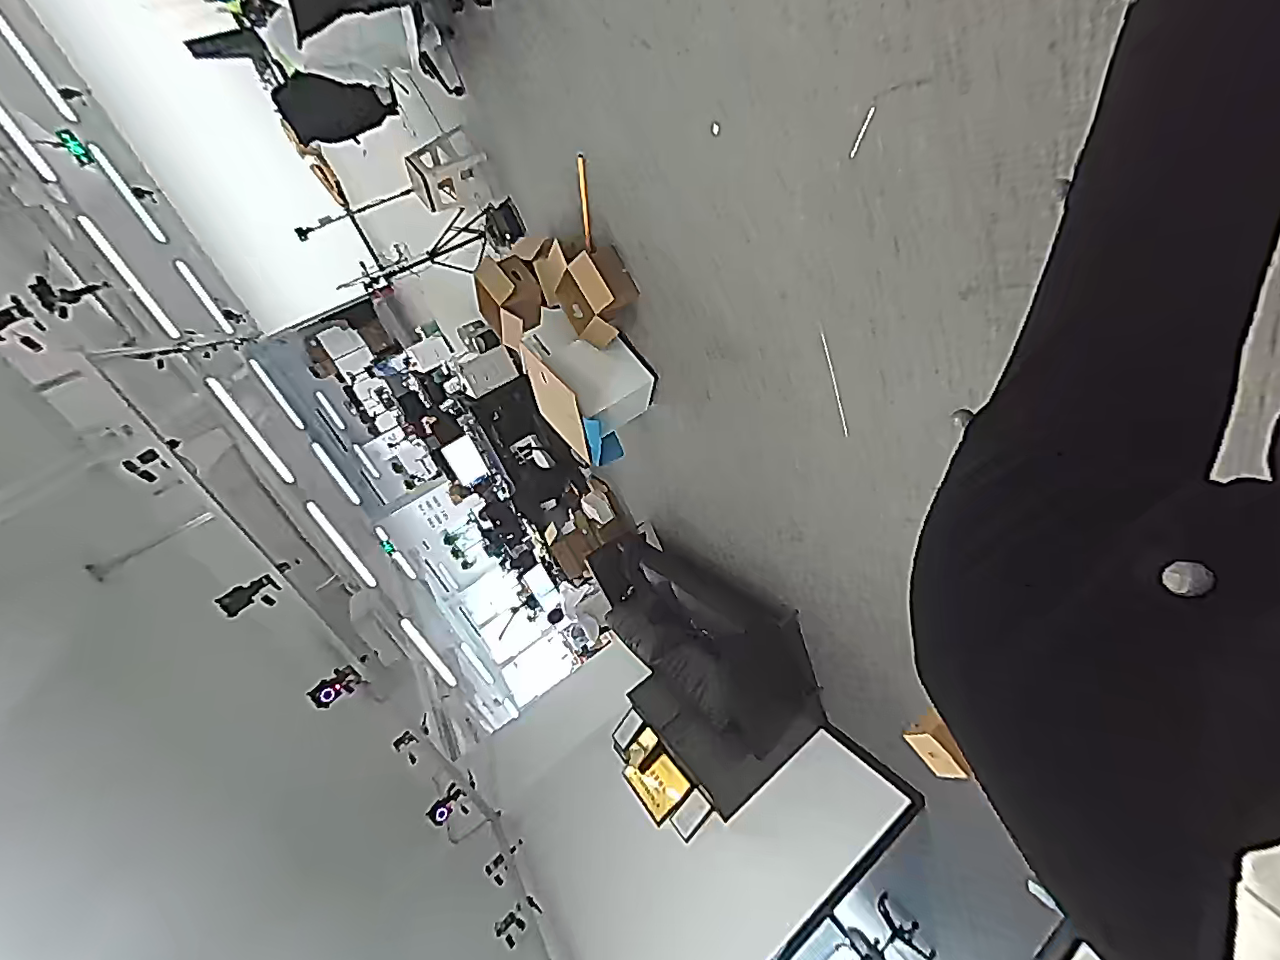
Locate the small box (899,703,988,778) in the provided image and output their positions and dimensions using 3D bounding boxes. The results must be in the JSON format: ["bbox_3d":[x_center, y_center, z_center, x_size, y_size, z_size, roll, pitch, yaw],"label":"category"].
[{"bbox_3d":[1.053,0.900,1.873,0.168,0.176,0.179,50,158,18],"label":"small box"}]
